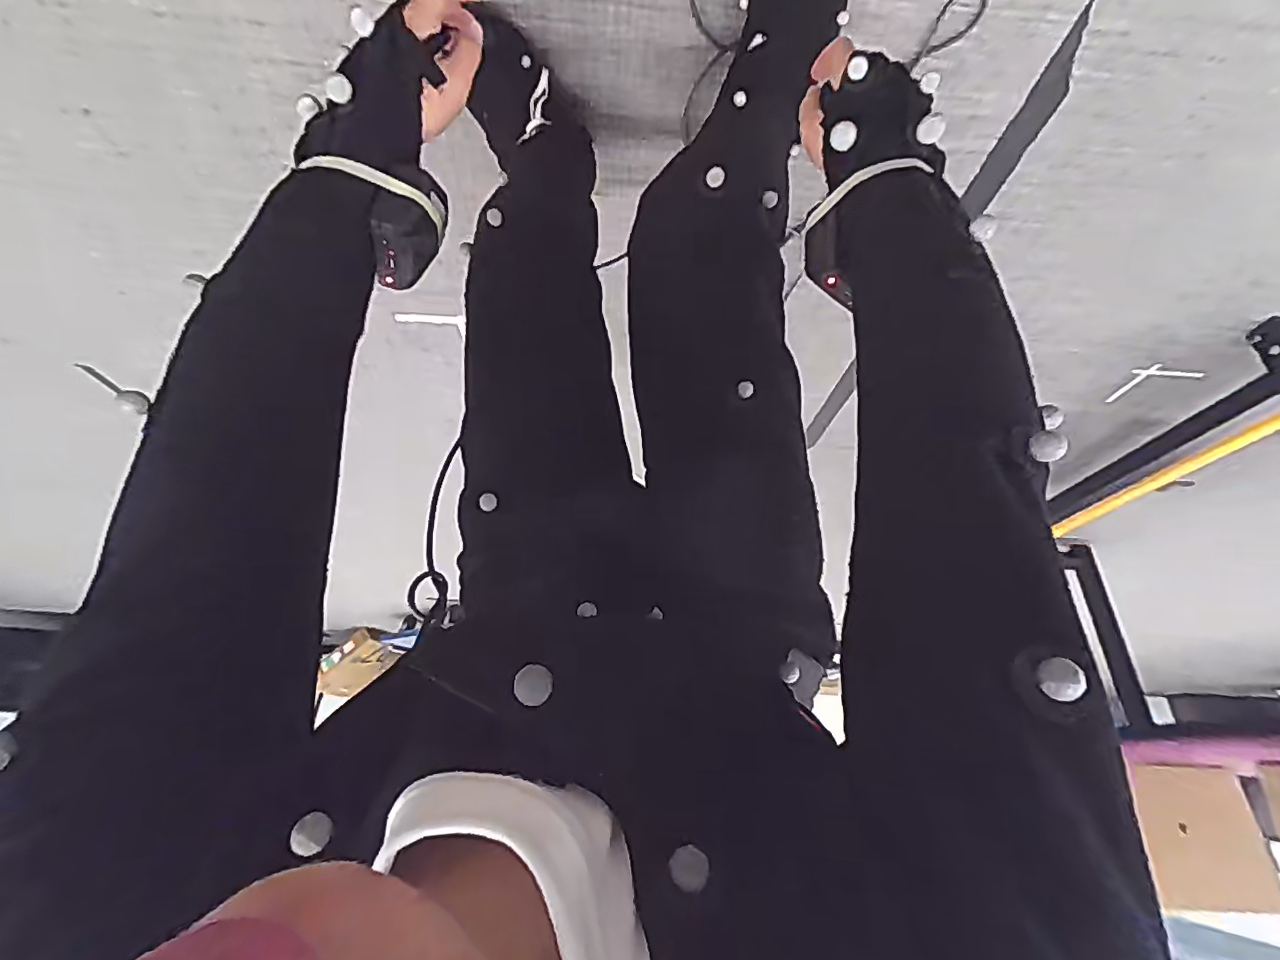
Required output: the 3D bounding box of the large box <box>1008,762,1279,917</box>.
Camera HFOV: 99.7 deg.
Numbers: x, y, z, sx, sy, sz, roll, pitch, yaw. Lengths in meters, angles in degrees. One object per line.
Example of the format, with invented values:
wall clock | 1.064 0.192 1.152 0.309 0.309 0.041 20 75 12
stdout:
large box | 1.307 0.932 1.438 0.408 0.320 0.320 3 153 -2
